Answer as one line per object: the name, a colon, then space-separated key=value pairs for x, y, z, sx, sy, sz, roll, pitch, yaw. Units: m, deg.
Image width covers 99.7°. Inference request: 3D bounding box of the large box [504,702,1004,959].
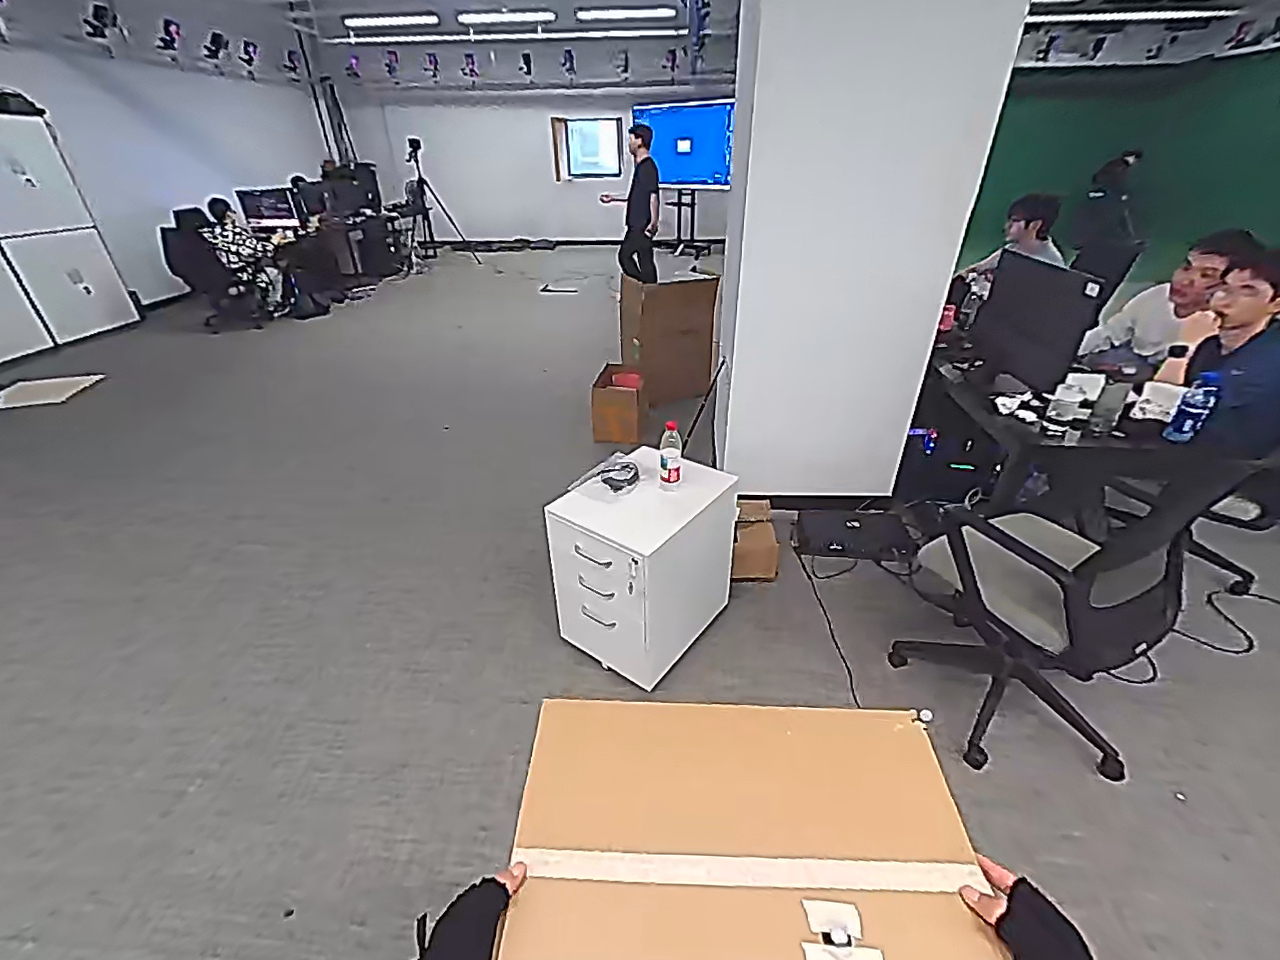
large box: x=0.091 y=0.462 z=0.563 sx=0.408 sy=0.320 sz=0.320 roll=2 pitch=37 yaw=2
